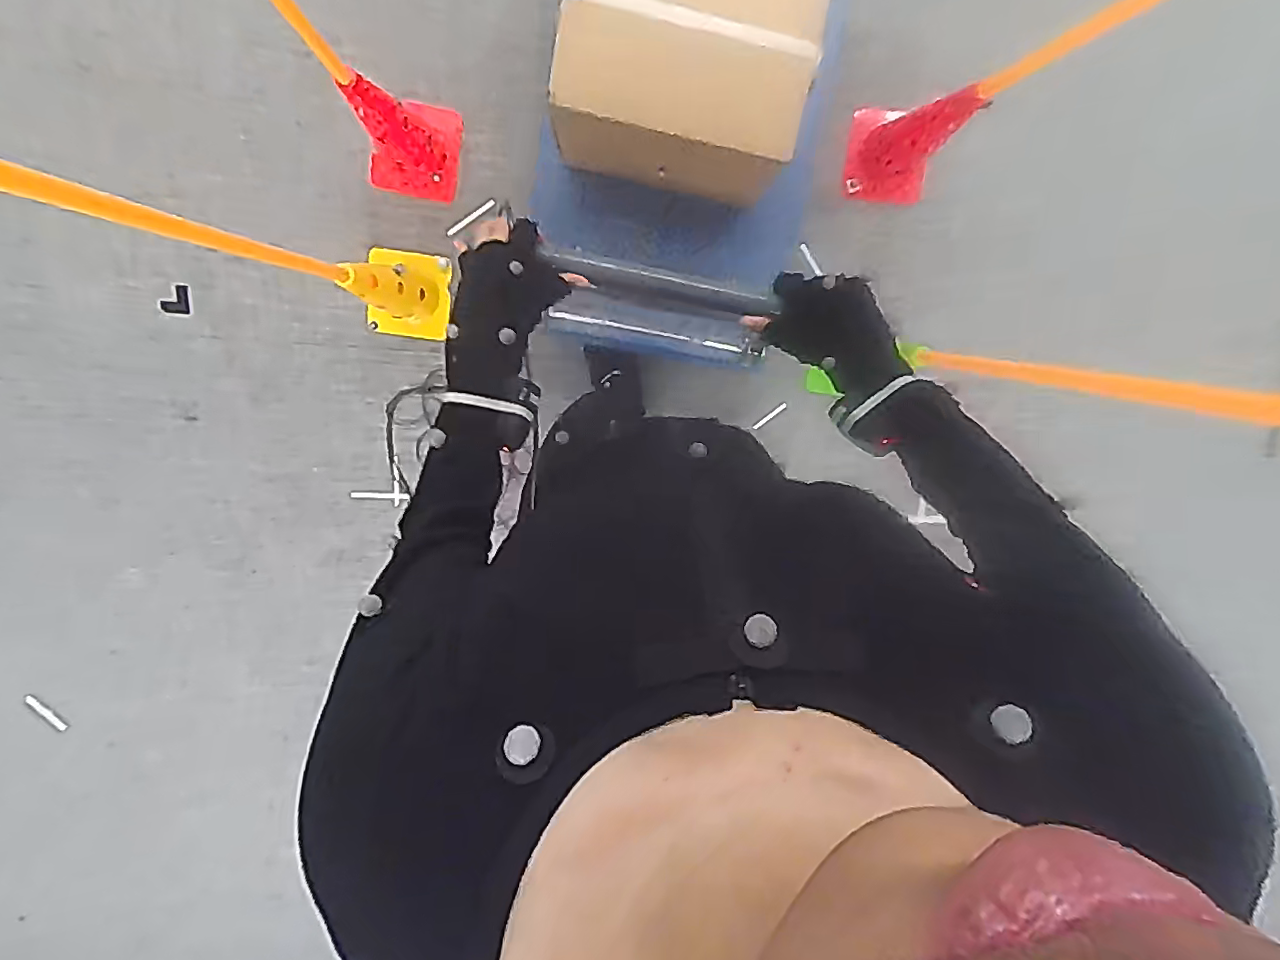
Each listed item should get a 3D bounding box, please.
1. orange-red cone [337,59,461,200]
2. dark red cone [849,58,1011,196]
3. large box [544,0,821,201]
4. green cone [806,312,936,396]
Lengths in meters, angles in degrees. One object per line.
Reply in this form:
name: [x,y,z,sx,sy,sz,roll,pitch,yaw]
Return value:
orange-red cone: [-0.517,-0.744,1.100,0.198,0.360,0.199,11,101,-6]
dark red cone: [0.616,-0.757,1.134,0.201,0.394,0.202,3,103,-6]
large box: [0.068,-0.743,0.980,0.408,0.320,0.320,12,103,-5]
green cone: [0.560,-0.291,1.258,0.202,0.368,0.200,7,103,-6]
